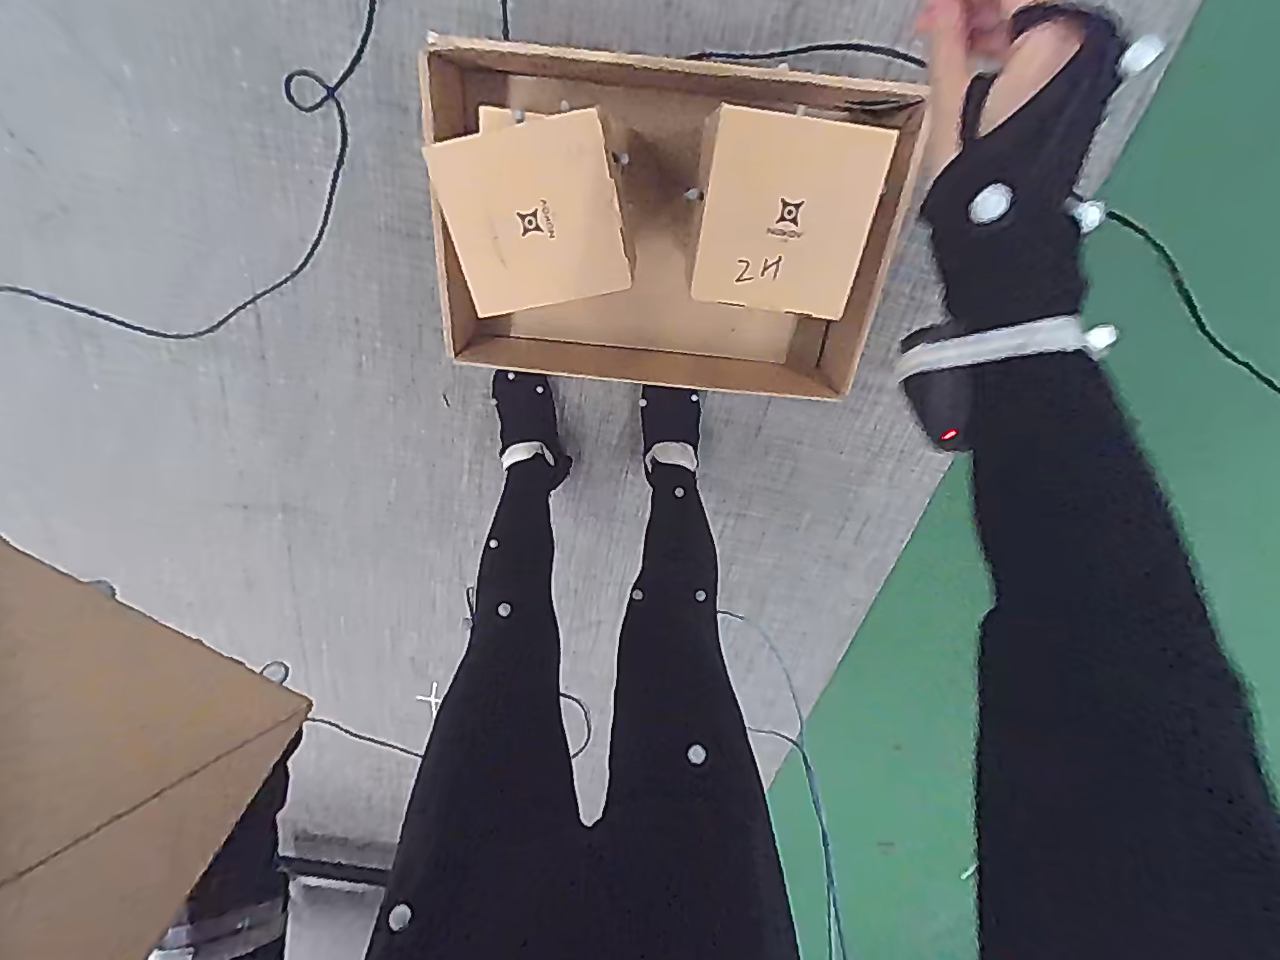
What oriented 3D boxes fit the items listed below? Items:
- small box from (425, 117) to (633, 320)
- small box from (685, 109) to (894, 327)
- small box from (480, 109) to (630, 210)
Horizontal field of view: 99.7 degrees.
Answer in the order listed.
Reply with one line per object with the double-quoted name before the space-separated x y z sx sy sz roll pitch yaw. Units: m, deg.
"small box" -0.106 -0.297 0.612 0.179 0.176 0.168 -8 120 6
"small box" 0.144 -0.289 0.601 0.168 0.176 0.179 8 120 -2
"small box" -0.109 -0.395 0.743 0.179 0.176 0.168 5 121 -3
